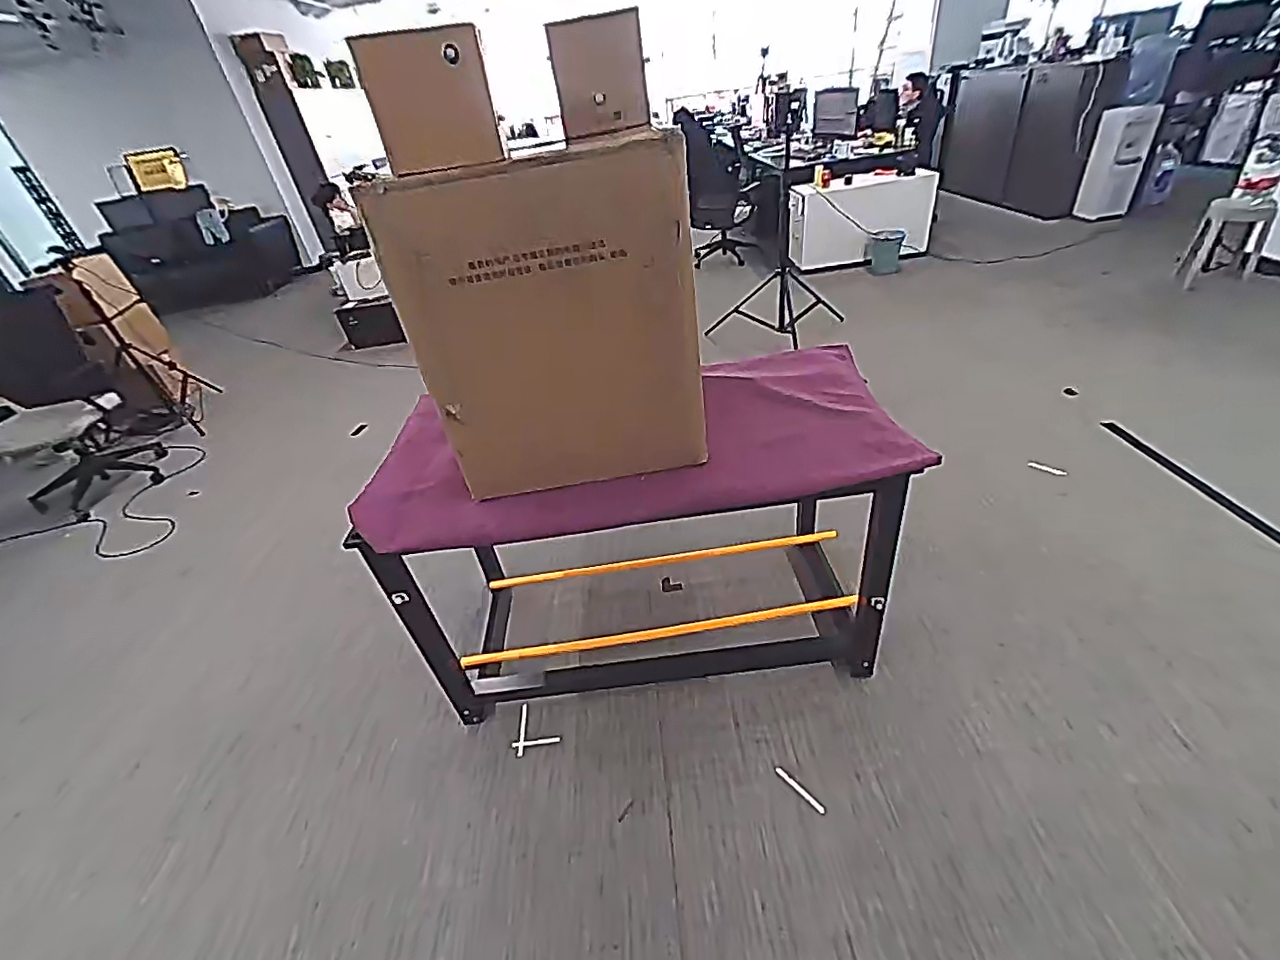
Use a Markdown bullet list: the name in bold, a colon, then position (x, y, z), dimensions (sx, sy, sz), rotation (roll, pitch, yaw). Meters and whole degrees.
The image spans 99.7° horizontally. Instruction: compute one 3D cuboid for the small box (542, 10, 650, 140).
- **small box**: position (-0.077, -0.751, 1.016), dimensions (0.168, 0.176, 0.179), rotation (-9, 36, 2)
